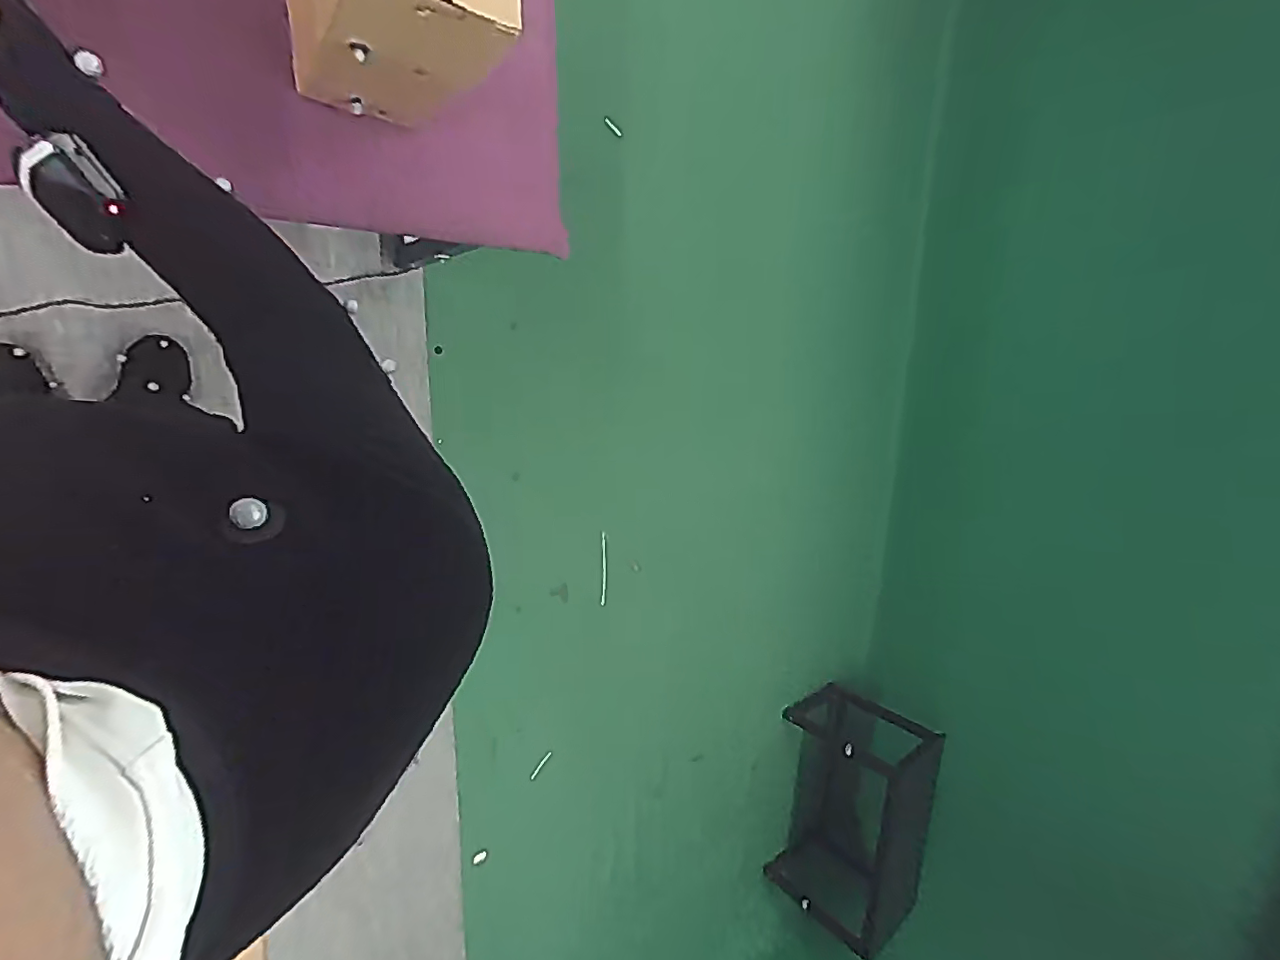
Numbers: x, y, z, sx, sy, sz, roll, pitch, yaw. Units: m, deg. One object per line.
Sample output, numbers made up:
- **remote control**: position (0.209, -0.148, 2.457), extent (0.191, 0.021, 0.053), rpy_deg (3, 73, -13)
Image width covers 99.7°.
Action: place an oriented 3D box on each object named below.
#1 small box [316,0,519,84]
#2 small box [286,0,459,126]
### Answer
- **small box**: position (-0.240, -0.564, 0.569), extent (0.168, 0.176, 0.179), rpy_deg (-9, 104, -38)
- **small box**: position (-0.345, -0.595, 0.691), extent (0.168, 0.176, 0.179), rpy_deg (-8, 105, -39)
